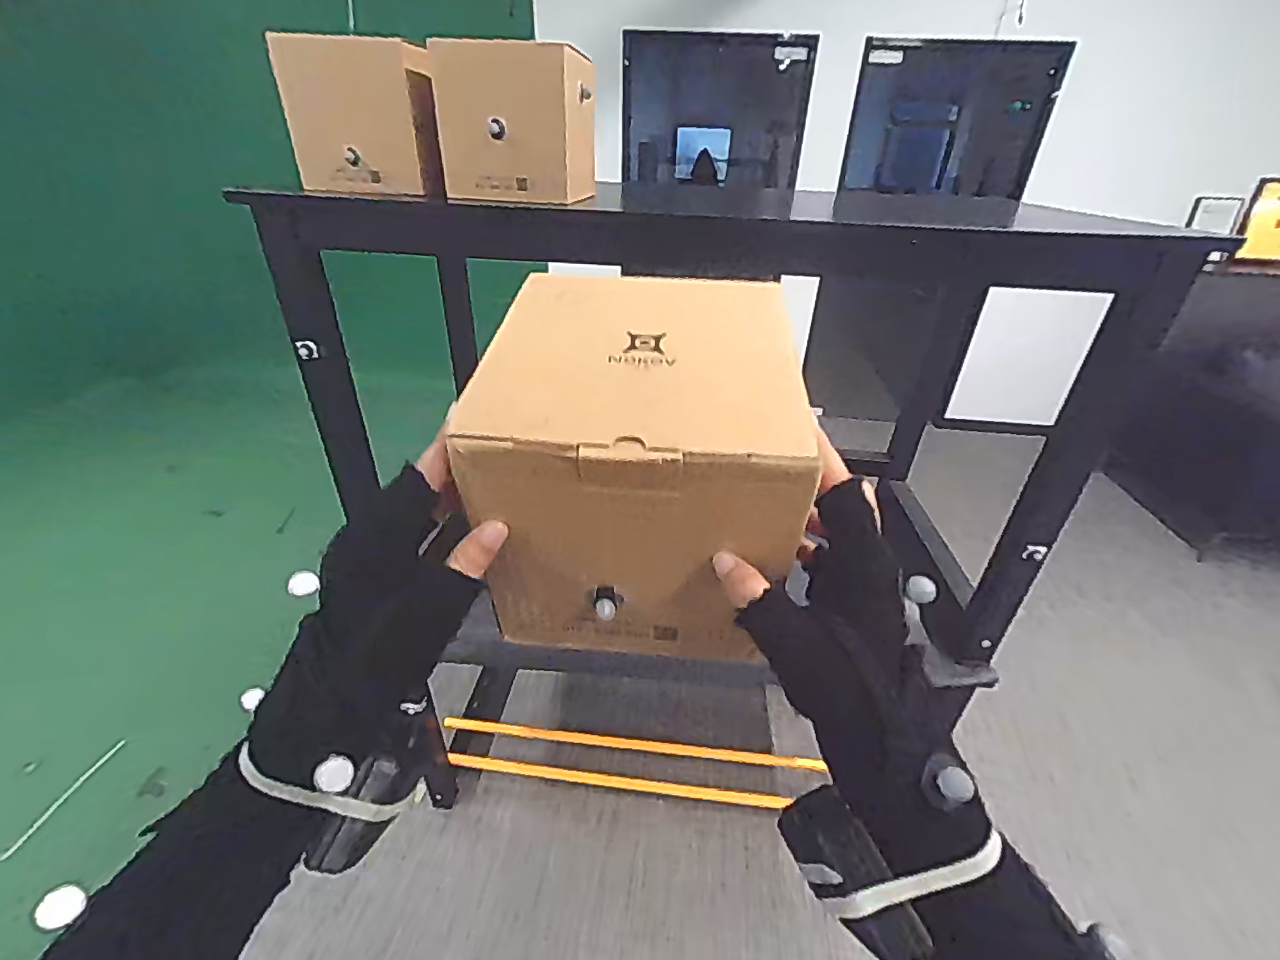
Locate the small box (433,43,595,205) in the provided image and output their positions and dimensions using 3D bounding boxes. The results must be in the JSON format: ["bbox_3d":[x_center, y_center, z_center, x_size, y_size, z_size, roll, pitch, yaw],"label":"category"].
[{"bbox_3d":[-0.156,-0.478,0.741,0.168,0.176,0.179,6,31,5],"label":"small box"}]

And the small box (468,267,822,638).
[{"bbox_3d":[0.006,-0.021,0.358,0.168,0.176,0.179,3,44,3],"label":"small box"}]
